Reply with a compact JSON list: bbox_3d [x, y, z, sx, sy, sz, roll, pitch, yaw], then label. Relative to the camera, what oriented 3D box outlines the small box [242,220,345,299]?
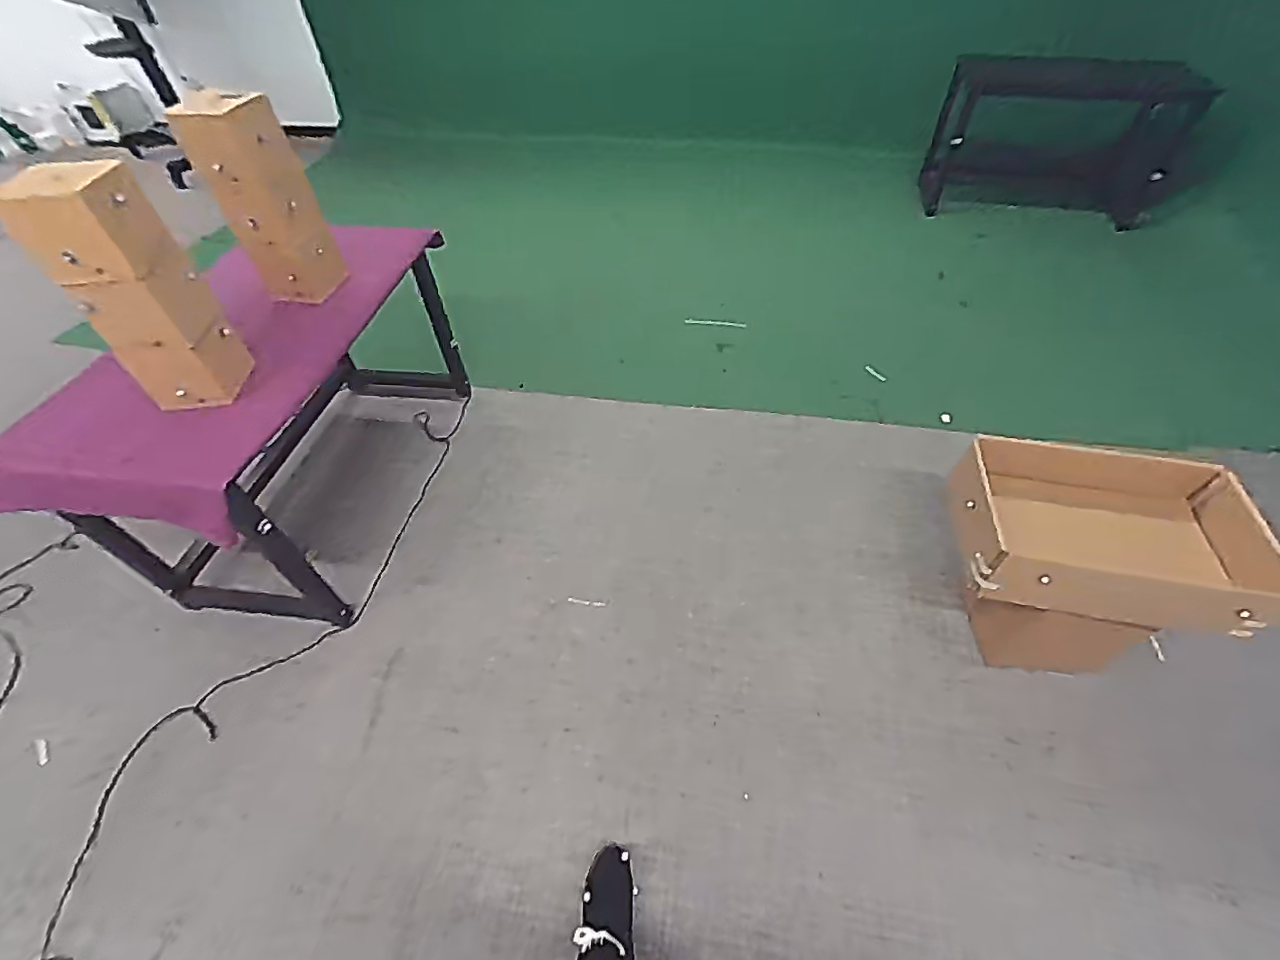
[{"bbox_3d":[-1.024,-0.662,1.619,0.168,0.176,0.179,7,50,7],"label":"small box"}]

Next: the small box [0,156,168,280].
[{"bbox_3d":[-1.094,-0.516,1.068,0.168,0.176,0.179,-6,50,-5],"label":"small box"}]

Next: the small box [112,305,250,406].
[{"bbox_3d":[-1.098,-0.302,1.315,0.168,0.176,0.179,-5,50,-3],"label":"small box"}]

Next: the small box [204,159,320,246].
[{"bbox_3d":[-1.028,-0.767,1.494,0.168,0.176,0.179,7,52,5],"label":"small box"}]

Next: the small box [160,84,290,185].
[{"bbox_3d":[-1.032,-0.874,1.368,0.168,0.176,0.179,5,51,5],"label":"small box"}]
